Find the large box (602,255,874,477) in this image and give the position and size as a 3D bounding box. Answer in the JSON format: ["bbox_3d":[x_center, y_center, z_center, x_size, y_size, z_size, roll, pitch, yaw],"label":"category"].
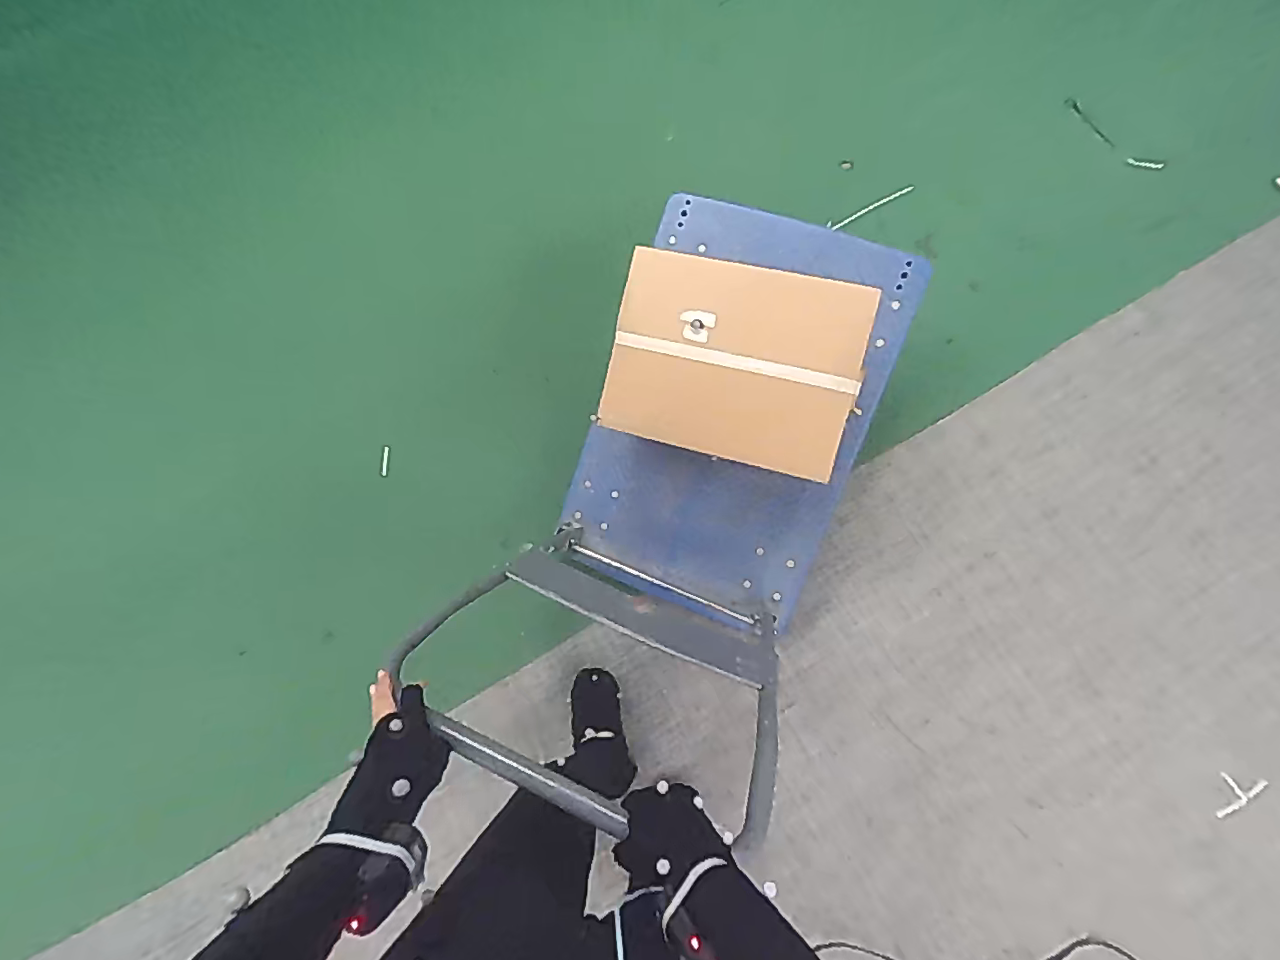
[{"bbox_3d":[0.188,-0.206,1.049,0.408,0.320,0.320,15,97,13],"label":"large box"}]
